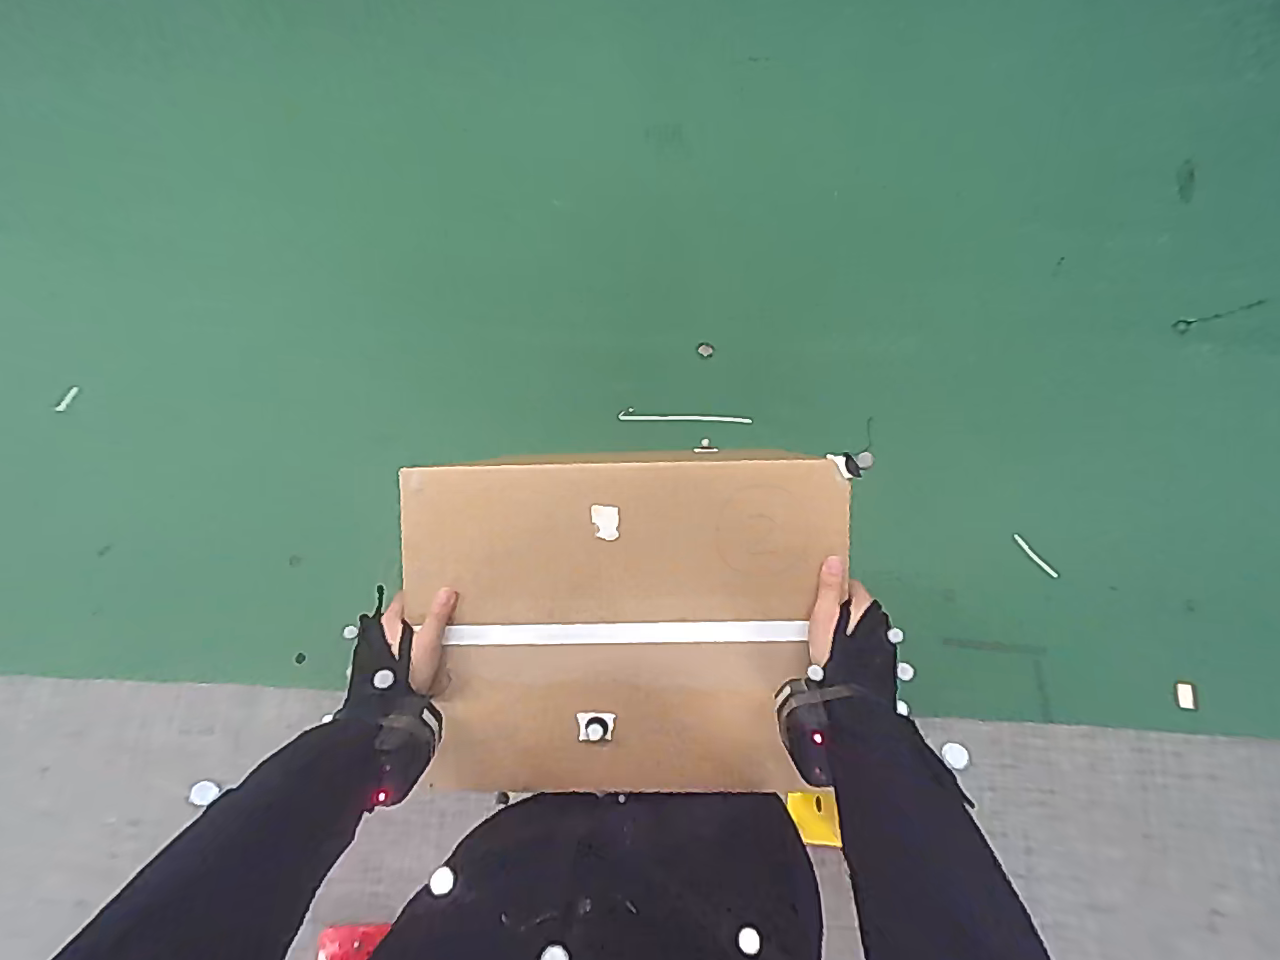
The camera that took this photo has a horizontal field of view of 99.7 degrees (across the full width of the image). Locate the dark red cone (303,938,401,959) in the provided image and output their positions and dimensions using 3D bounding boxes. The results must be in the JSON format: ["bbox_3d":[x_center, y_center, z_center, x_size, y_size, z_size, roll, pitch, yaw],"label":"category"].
[{"bbox_3d":[-0.570,0.954,0.877,0.202,0.394,0.201,-7,74,3],"label":"dark red cone"}]
